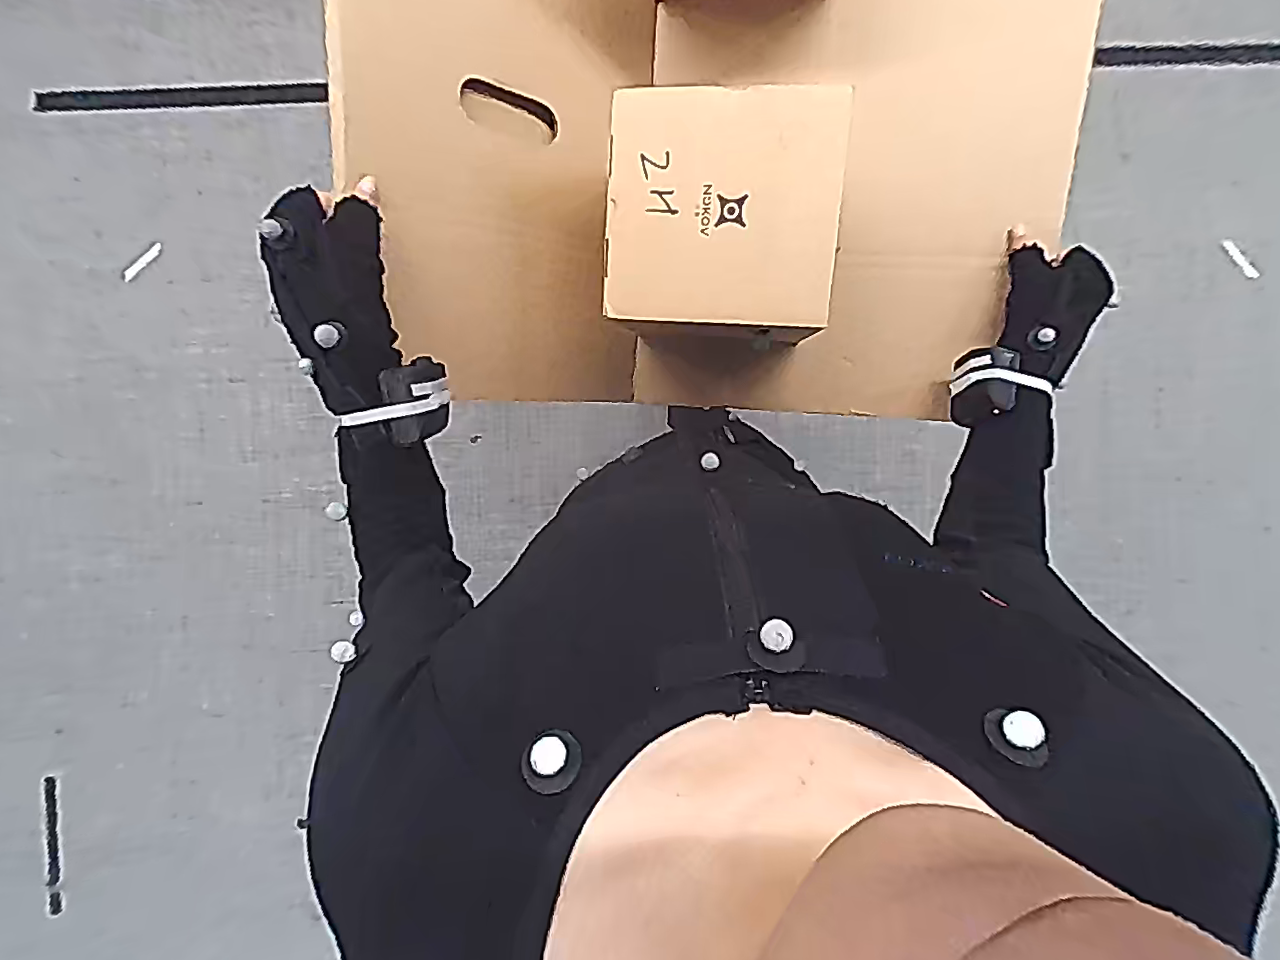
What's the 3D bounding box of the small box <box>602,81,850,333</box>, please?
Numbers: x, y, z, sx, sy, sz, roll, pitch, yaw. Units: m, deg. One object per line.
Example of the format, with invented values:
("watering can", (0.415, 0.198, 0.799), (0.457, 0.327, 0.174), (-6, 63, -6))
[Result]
("small box", (0.072, -0.227, 0.491), (0.179, 0.176, 0.168), (6, 101, 9))
